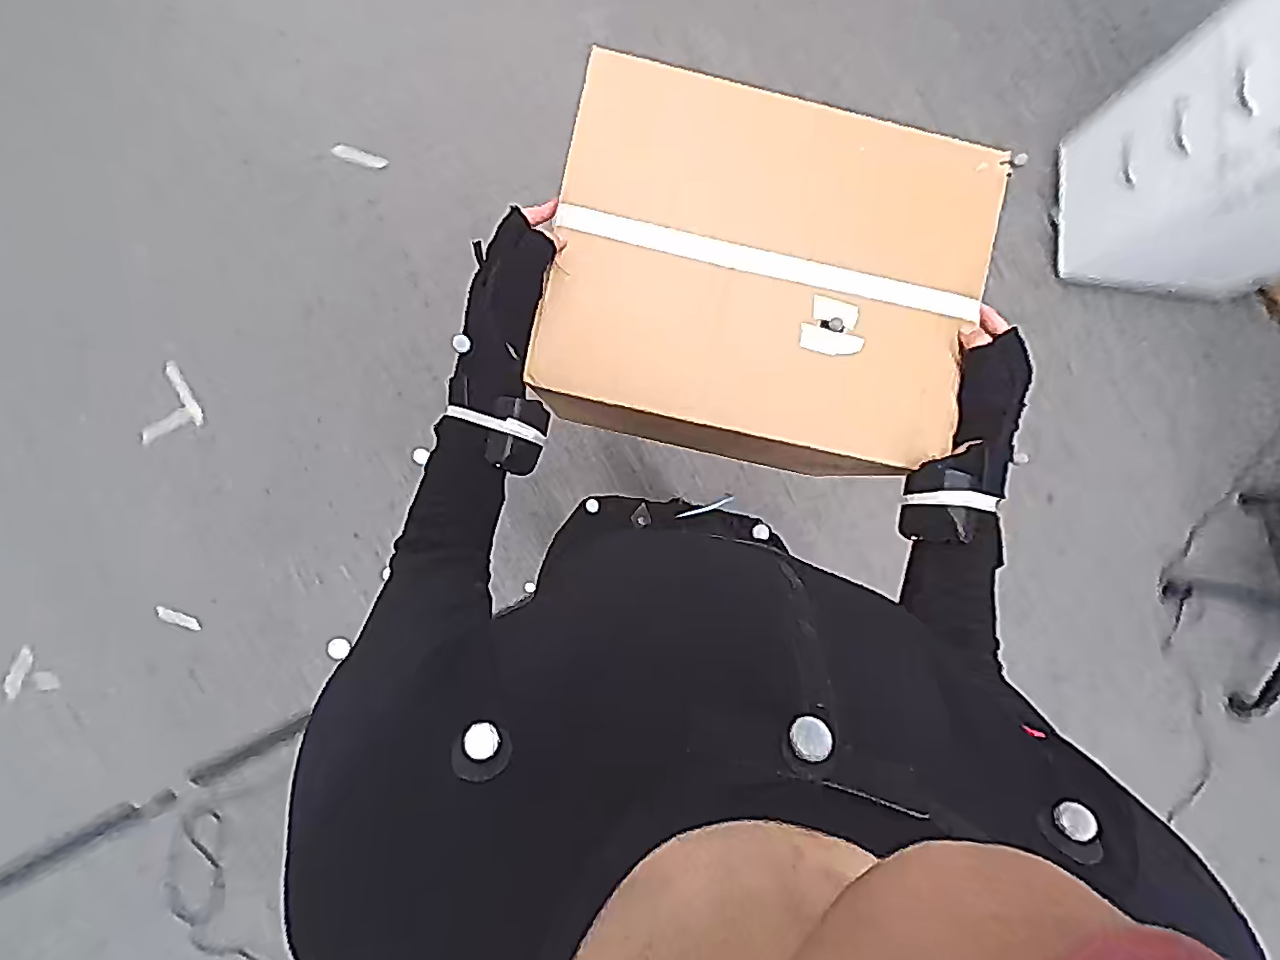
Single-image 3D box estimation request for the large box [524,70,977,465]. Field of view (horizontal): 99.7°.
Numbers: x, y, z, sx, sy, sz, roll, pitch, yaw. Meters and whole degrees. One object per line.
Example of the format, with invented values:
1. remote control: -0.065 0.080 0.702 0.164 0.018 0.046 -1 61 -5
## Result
1. large box: 0.098 -0.202 0.661 0.408 0.320 0.320 11 91 -4
